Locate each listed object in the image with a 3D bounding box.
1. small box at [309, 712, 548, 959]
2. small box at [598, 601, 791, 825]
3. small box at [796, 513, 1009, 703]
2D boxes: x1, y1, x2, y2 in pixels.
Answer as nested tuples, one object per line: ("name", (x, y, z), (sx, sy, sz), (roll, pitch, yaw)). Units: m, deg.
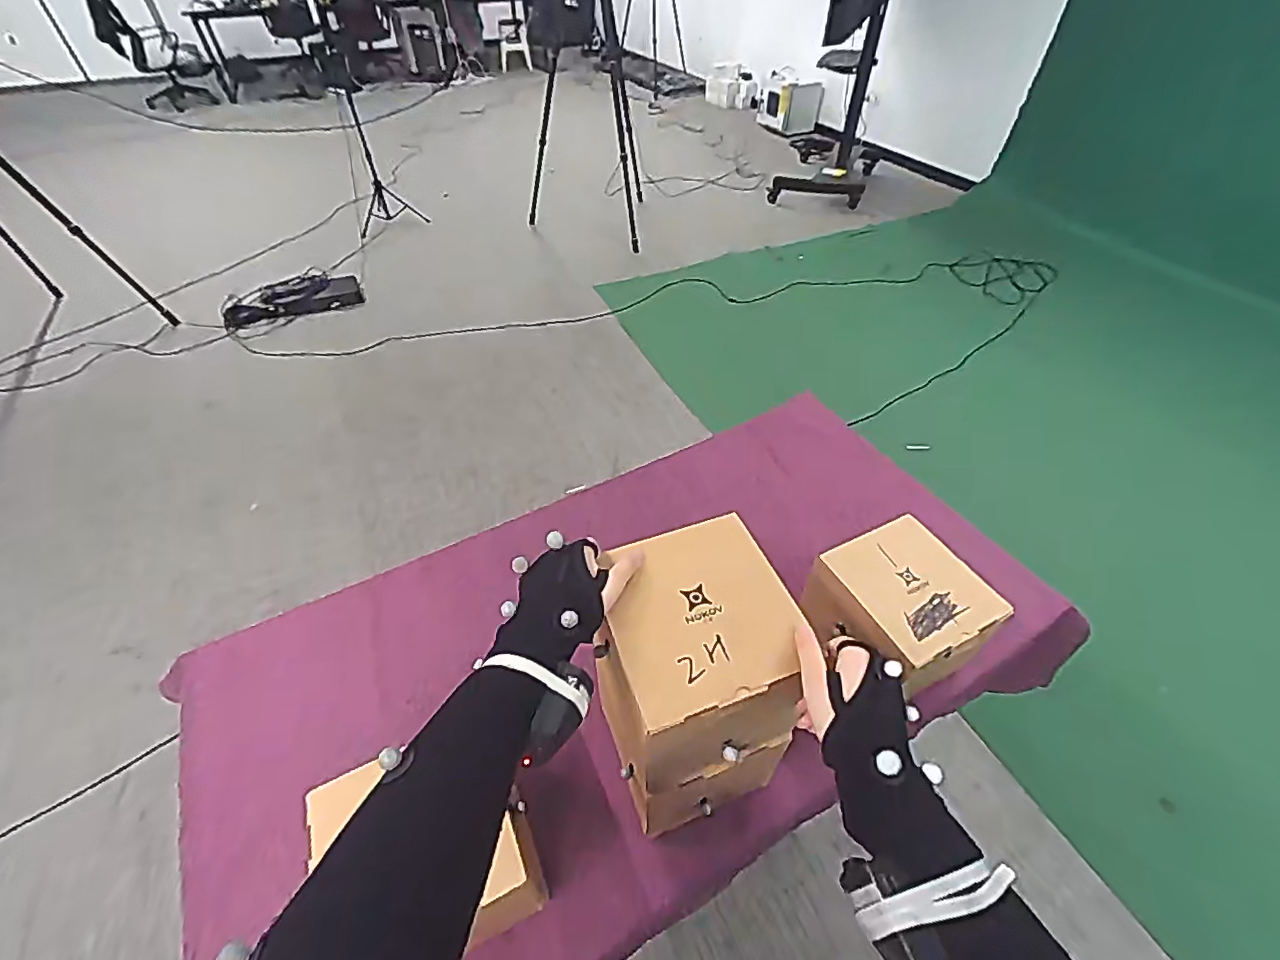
("small box", (-0.212, 0.383, 0.565), (0.179, 0.176, 0.168), (-20, 51, -17))
("small box", (0.053, 0.283, 0.659), (0.168, 0.176, 0.179), (-16, 50, -14))
("small box", (0.344, 0.183, 0.747), (0.168, 0.176, 0.179), (-20, 50, -17))
